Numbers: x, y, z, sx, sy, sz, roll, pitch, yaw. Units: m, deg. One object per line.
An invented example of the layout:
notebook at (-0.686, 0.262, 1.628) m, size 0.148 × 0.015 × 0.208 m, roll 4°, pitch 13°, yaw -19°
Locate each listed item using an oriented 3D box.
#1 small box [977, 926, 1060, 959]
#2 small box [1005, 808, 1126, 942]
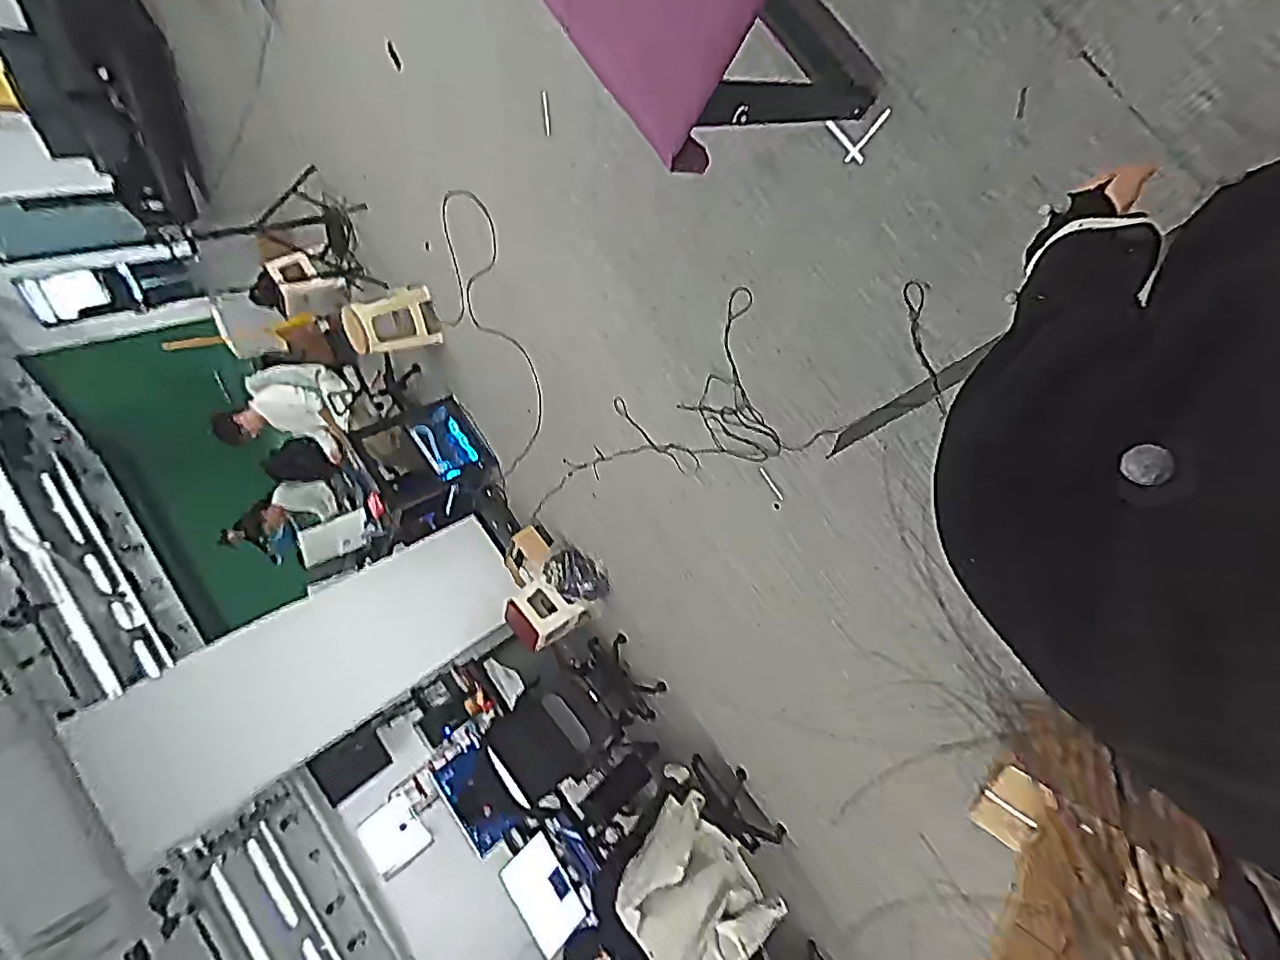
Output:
small box at (0.811, 1.091, 1.134) m, size 0.179 × 0.176 × 0.168 m, roll 29°, pitch 134°, yaw 37°
small box at (1.044, 0.960, 1.327) m, size 0.179 × 0.176 × 0.168 m, roll 29°, pitch 133°, yaw 38°
